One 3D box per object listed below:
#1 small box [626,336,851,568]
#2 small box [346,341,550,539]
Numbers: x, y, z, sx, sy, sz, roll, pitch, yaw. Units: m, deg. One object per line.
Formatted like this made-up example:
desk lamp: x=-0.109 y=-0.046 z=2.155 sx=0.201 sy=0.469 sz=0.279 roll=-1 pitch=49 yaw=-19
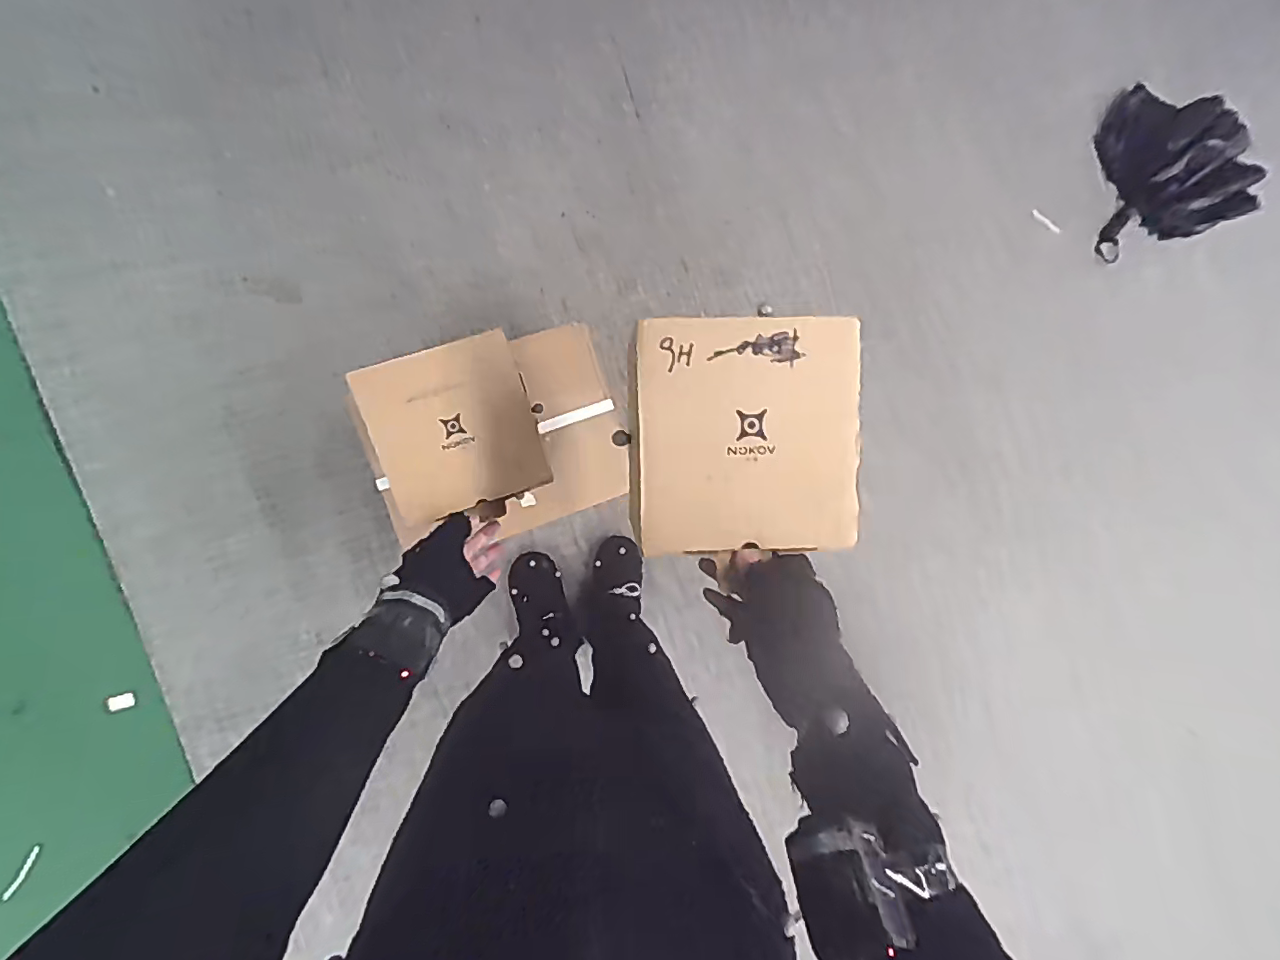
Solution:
small box: x=0.073 y=-0.029 z=0.488 sx=0.168 sy=0.176 sz=0.179 roll=-2 pitch=96 yaw=-3
small box: x=-0.216 y=-0.051 z=0.657 sx=0.168 sy=0.176 sz=0.179 roll=-21 pitch=99 yaw=-9
